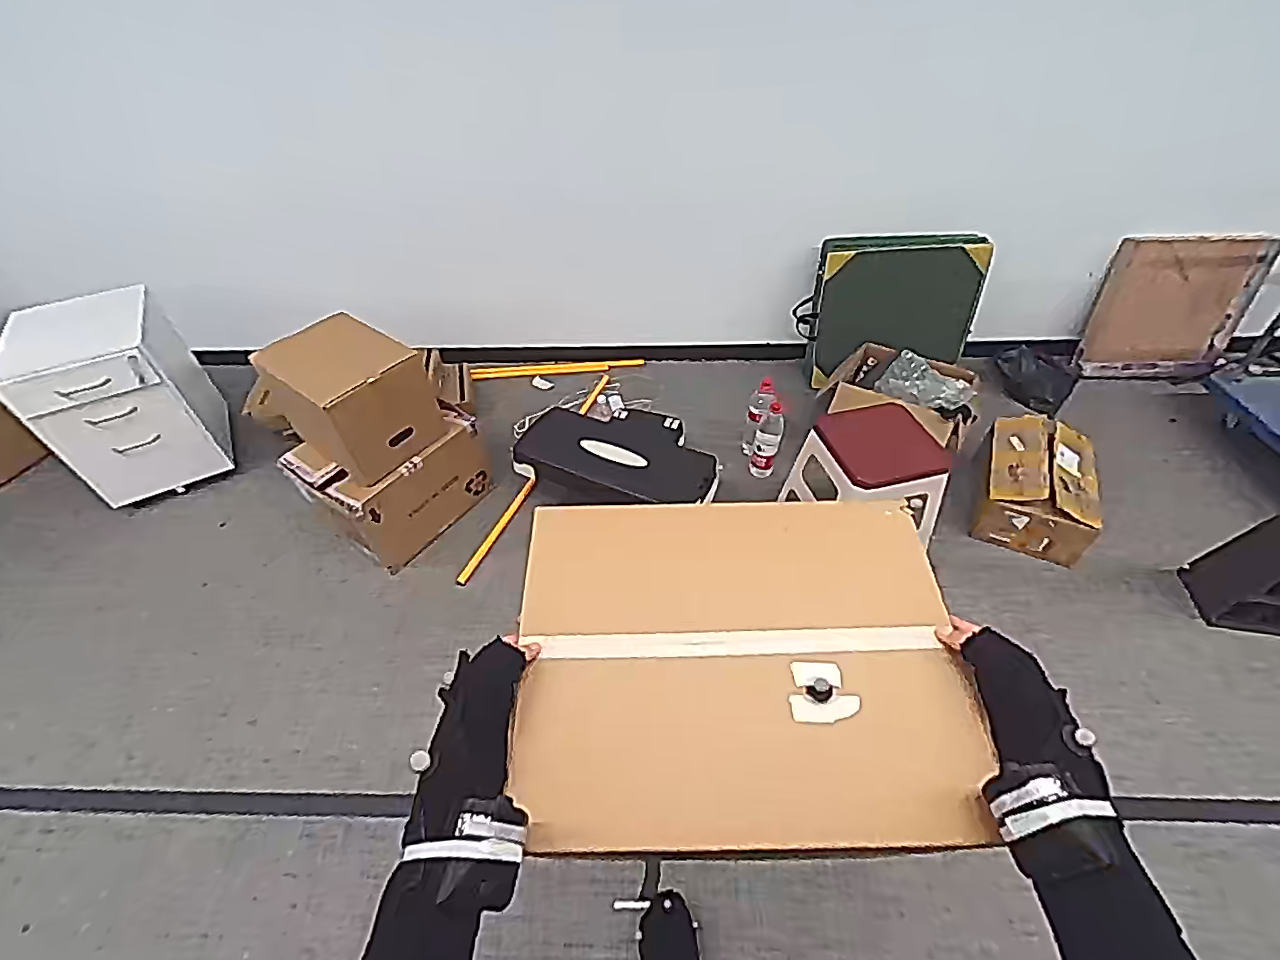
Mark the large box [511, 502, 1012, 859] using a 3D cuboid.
[{"bbox_3d":[0.093,0.241,0.628,0.408,0.320,0.320,-1,54,0],"label":"large box"}]
